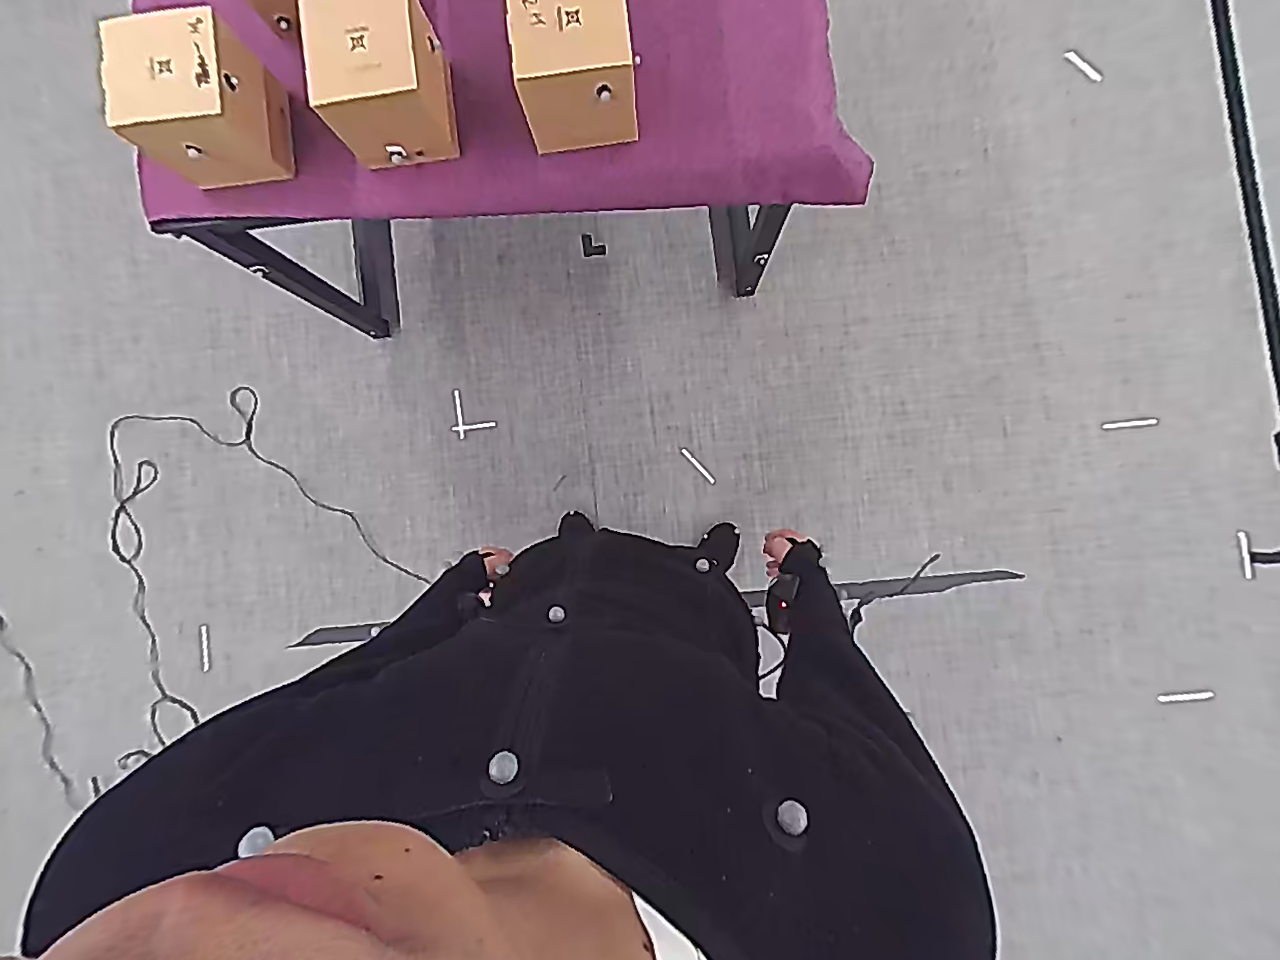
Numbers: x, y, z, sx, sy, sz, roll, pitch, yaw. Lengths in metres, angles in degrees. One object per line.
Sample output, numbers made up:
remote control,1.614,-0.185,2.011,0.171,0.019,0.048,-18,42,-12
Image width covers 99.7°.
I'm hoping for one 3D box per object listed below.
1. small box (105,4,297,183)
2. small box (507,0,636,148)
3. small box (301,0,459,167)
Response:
small box,-0.702,-0.612,0.880,0.179,0.176,0.168,-6,89,3
small box,-0.100,-0.662,0.855,0.179,0.176,0.168,-6,88,3
small box,-0.408,-0.645,0.871,0.168,0.176,0.179,-7,90,3
